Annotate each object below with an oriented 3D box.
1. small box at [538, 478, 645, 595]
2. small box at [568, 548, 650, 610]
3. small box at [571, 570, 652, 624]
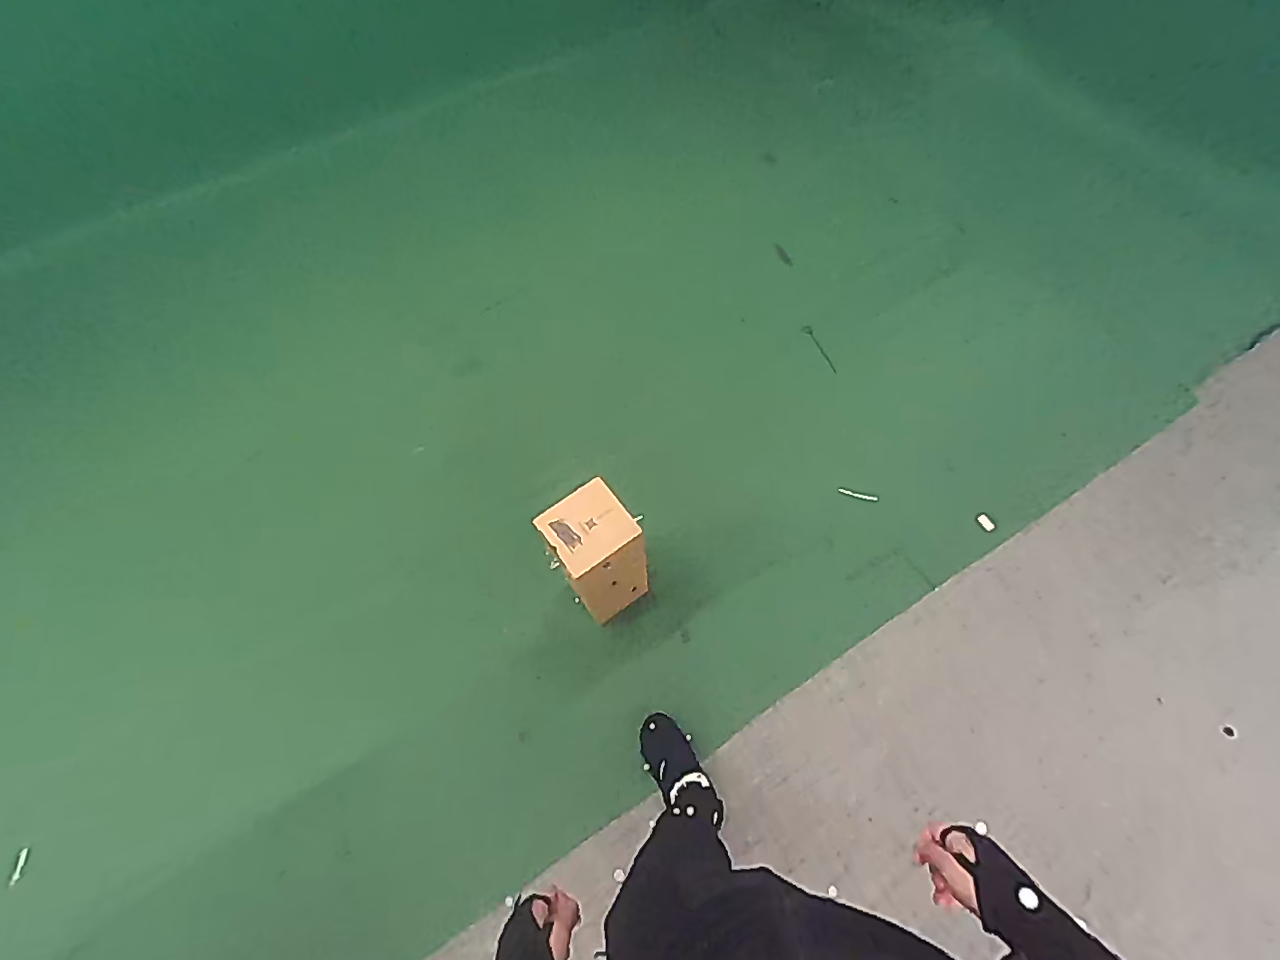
[{"bbox_3d":[-0.100,0.132,1.213,0.179,0.176,0.168,-34,68,-14],"label":"small box"},{"bbox_3d":[-0.090,0.201,1.362,0.179,0.176,0.168,-32,67,-12],"label":"small box"},{"bbox_3d":[-0.084,0.273,1.507,0.179,0.176,0.168,-33,66,-13],"label":"small box"}]
